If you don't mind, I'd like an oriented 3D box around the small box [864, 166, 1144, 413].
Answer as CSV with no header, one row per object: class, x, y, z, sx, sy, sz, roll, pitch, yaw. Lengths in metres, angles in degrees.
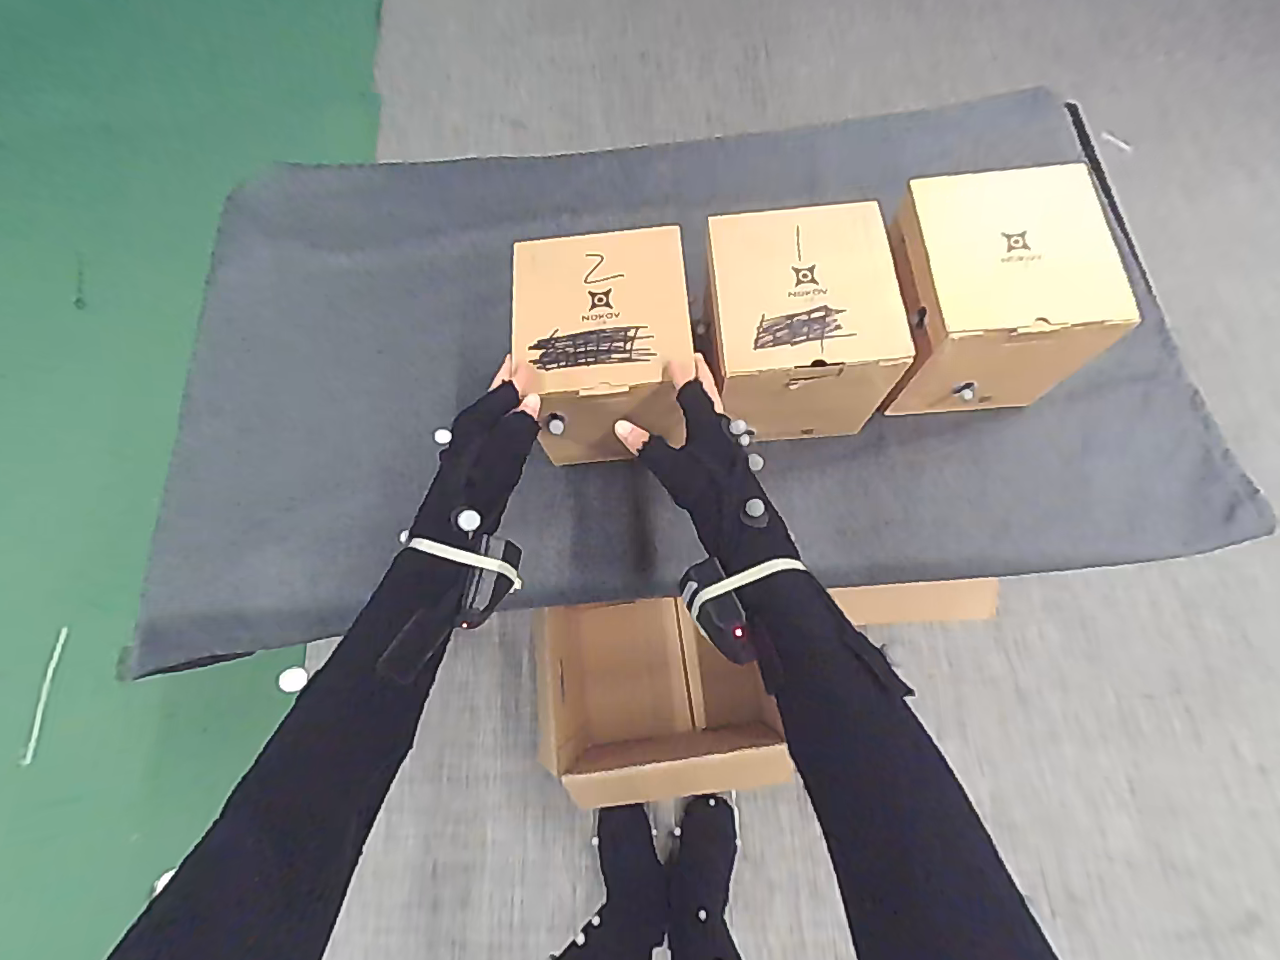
small box,0.352,-0.187,0.568,0.168,0.176,0.179,-4,73,3
